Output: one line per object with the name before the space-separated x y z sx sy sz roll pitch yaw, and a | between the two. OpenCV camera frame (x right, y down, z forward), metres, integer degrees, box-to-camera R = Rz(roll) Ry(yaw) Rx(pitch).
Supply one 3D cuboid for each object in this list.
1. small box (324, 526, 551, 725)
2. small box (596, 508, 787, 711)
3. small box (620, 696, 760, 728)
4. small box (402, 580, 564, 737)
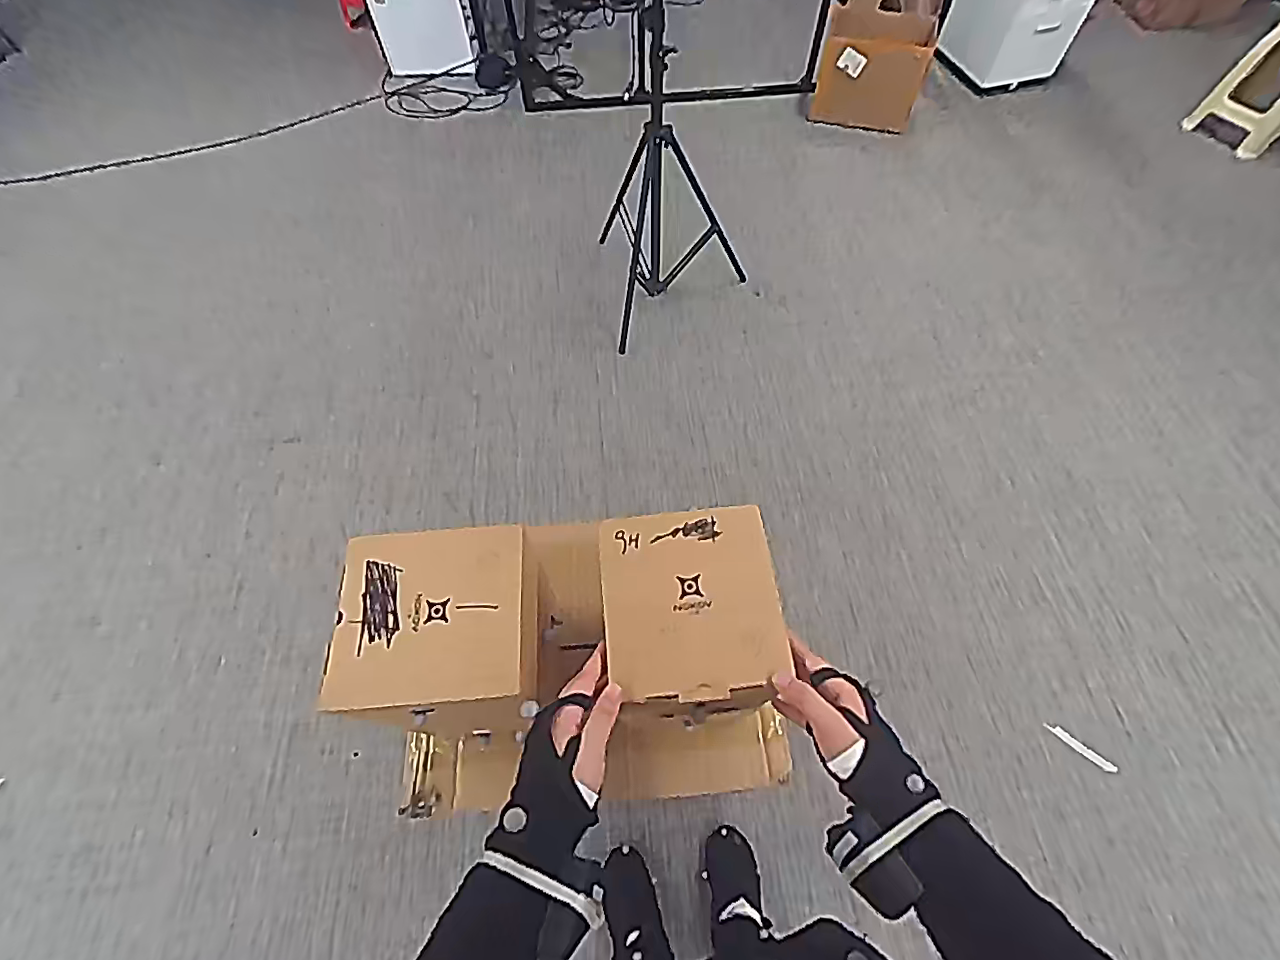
small box | -0.197 0.164 0.584 0.179 0.176 0.168 -5 61 -2
small box | 0.048 0.149 0.585 0.168 0.176 0.179 -7 63 -1
small box | 0.055 0.227 0.728 0.168 0.176 0.179 -5 62 0
small box | -0.198 0.241 0.729 0.168 0.176 0.179 -5 62 -1
